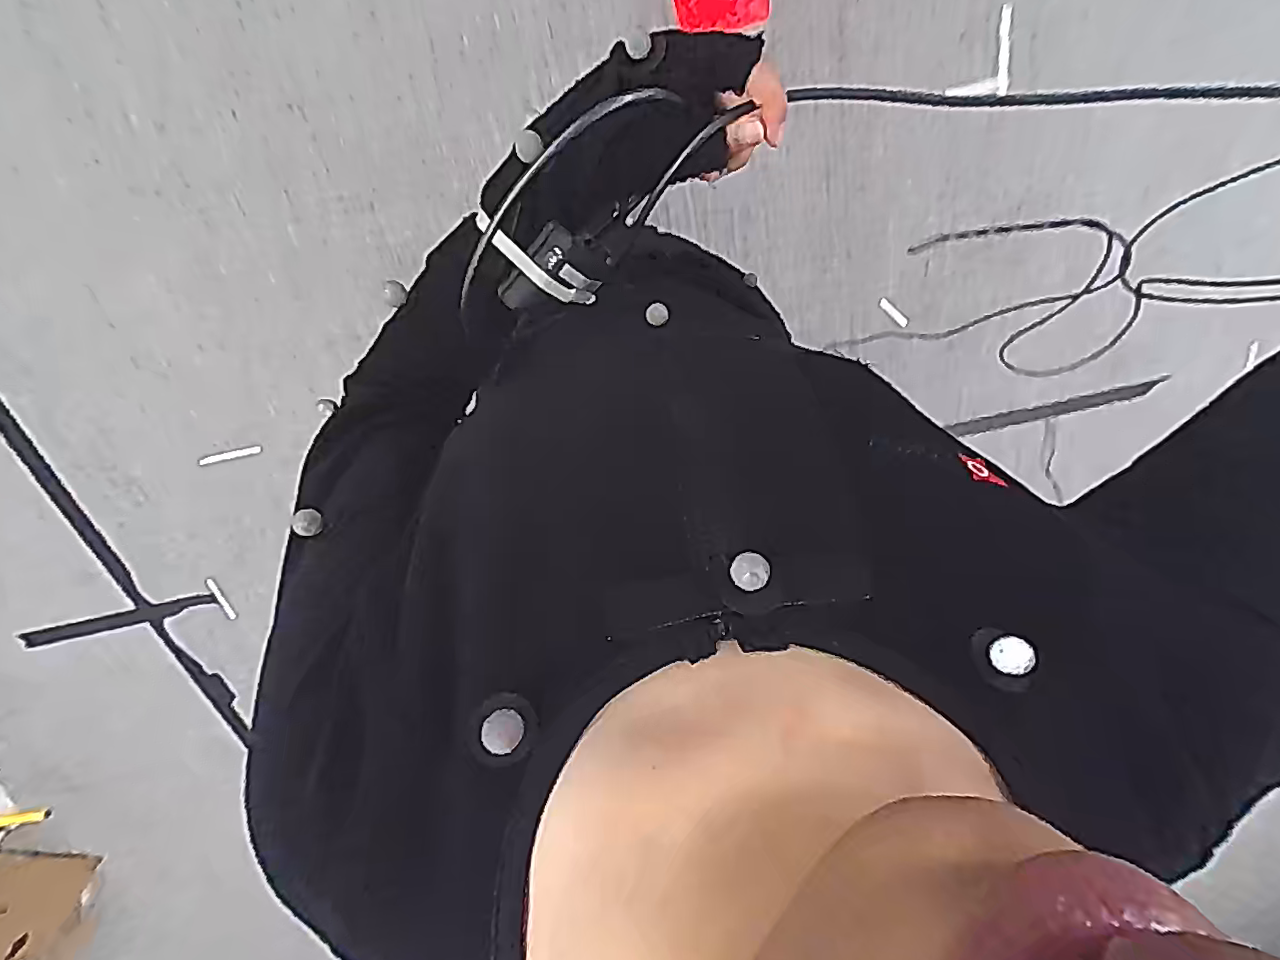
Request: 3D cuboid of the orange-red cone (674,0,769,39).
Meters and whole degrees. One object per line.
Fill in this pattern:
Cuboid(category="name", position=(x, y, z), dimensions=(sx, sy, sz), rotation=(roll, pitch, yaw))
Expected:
Cuboid(category="orange-red cone", position=(0.174, -0.953, 0.928), dimensions=(0.199, 0.360, 0.198), rotation=(-17, 115, 1))
